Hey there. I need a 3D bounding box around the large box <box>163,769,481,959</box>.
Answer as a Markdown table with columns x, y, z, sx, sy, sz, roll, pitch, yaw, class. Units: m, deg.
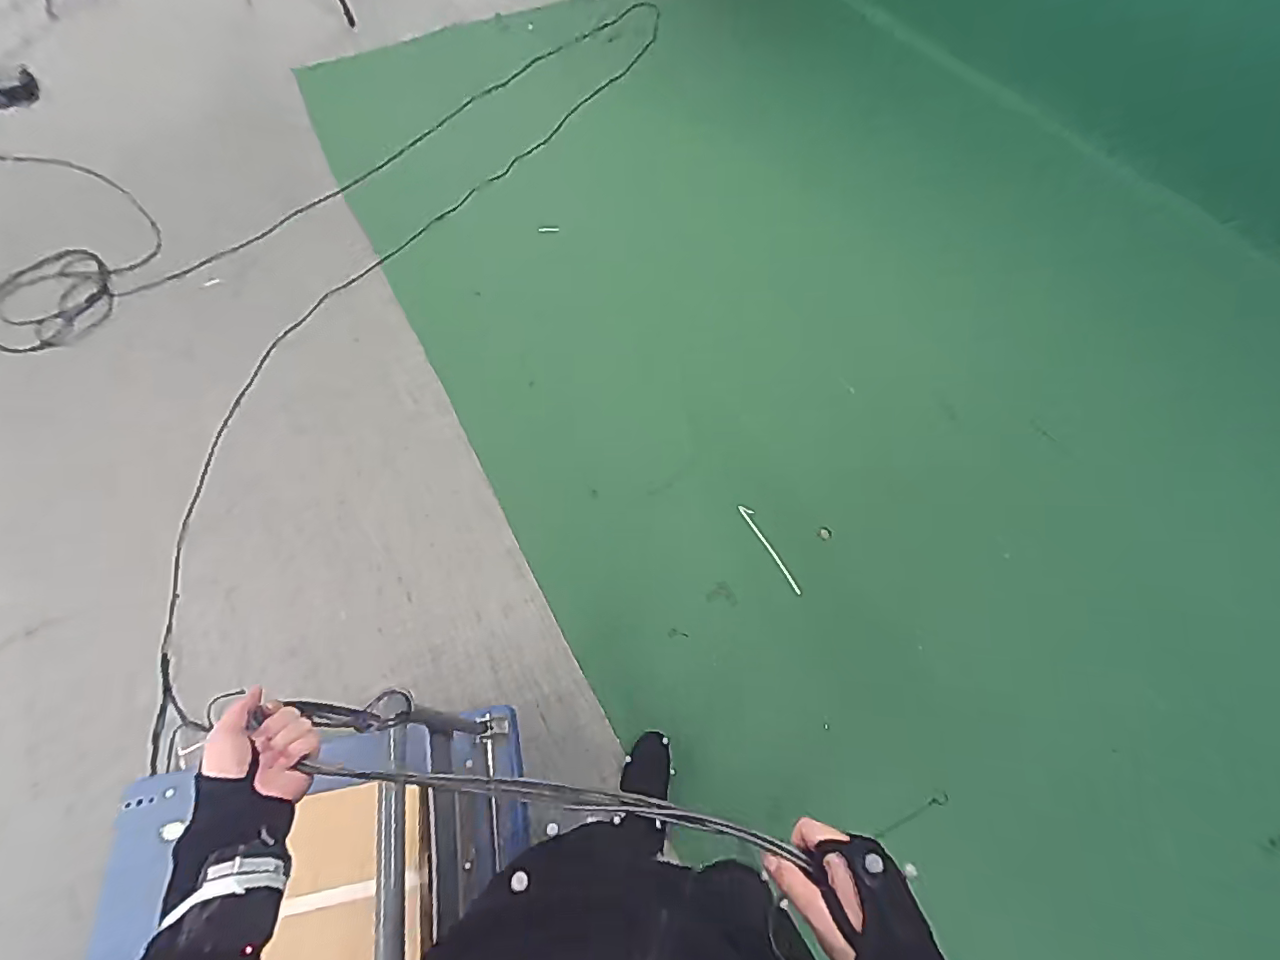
| x | y | z | sx | sy | sz | roll | pitch | yaw | class |
| --- | --- | --- | --- | --- | --- | --- | --- | --- | --- |
| -0.543 | 0.751 | 0.995 | 0.408 | 0.320 | 0.320 | -11 | 63 | -4 | large box |
